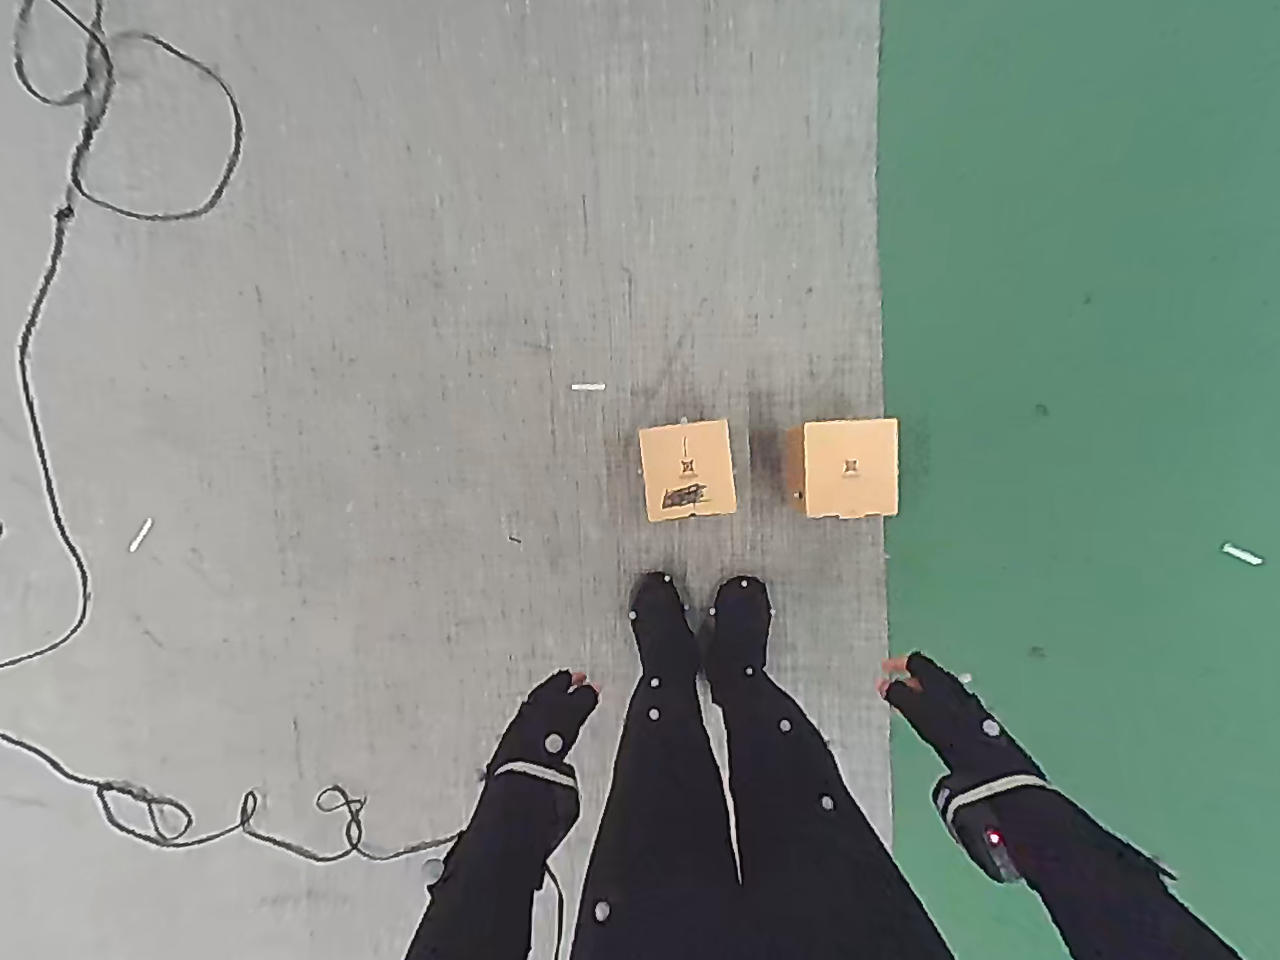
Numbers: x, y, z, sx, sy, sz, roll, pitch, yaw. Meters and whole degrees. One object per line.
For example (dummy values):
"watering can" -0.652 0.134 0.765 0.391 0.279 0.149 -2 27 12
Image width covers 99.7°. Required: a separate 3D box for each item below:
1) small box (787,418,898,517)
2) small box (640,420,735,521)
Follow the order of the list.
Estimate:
"small box" 0.386 -0.025 1.055 0.168 0.176 0.179 -2 93 5
"small box" 0.094 -0.021 1.073 0.168 0.176 0.179 -6 92 4
